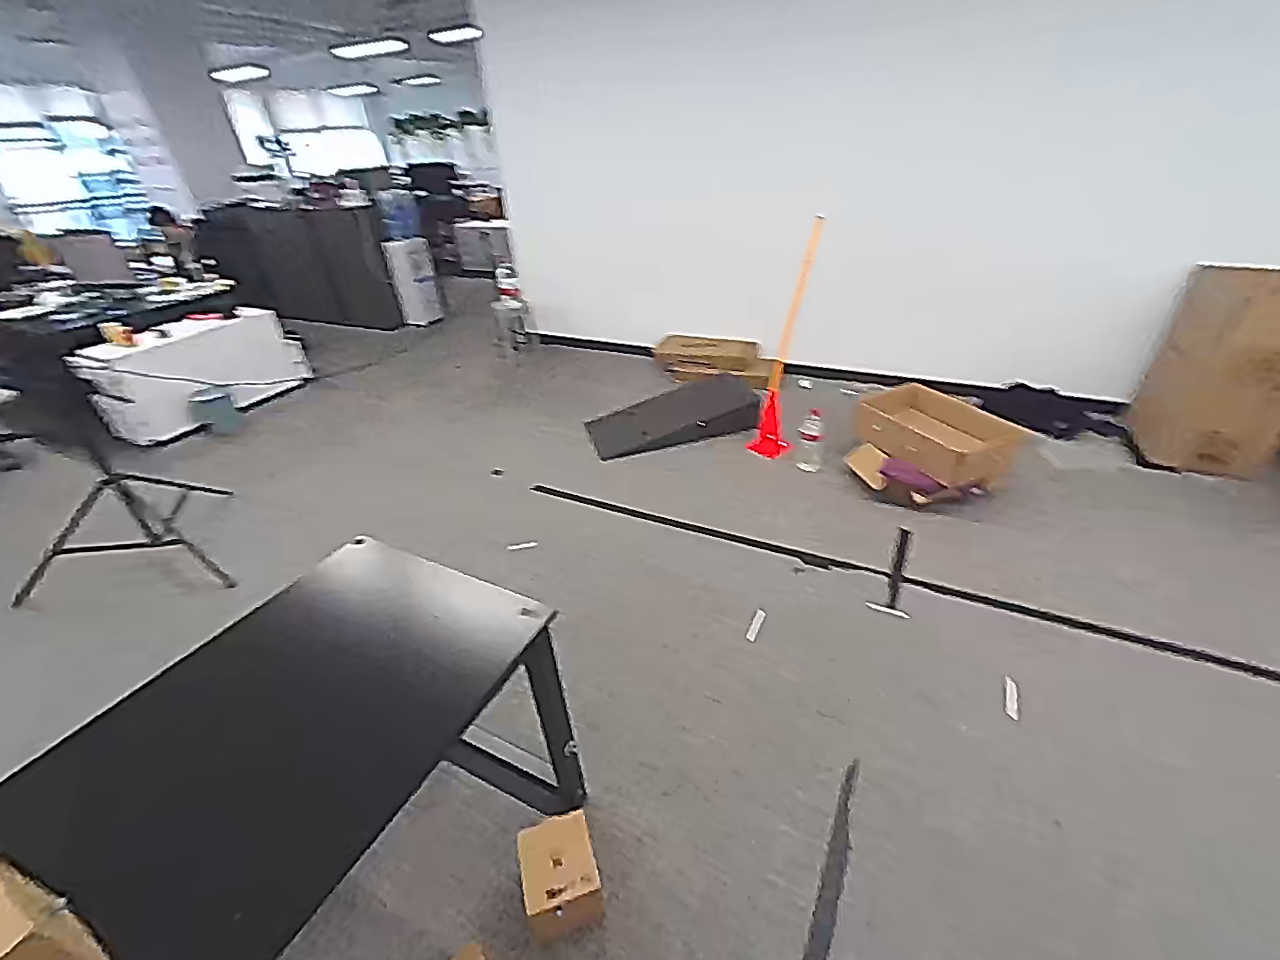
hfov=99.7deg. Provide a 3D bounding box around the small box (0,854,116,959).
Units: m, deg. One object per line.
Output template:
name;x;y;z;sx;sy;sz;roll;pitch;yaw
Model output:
small box;-0.721;0.552;0.577;0.179;0.176;0.168;13;37;25

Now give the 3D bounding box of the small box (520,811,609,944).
small box;-0.178;0.932;1.272;0.168;0.176;0.179;-13;34;-13

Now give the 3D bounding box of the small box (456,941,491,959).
small box;-0.340;1.081;1.064;0.179;0.176;0.168;-29;39;-31
